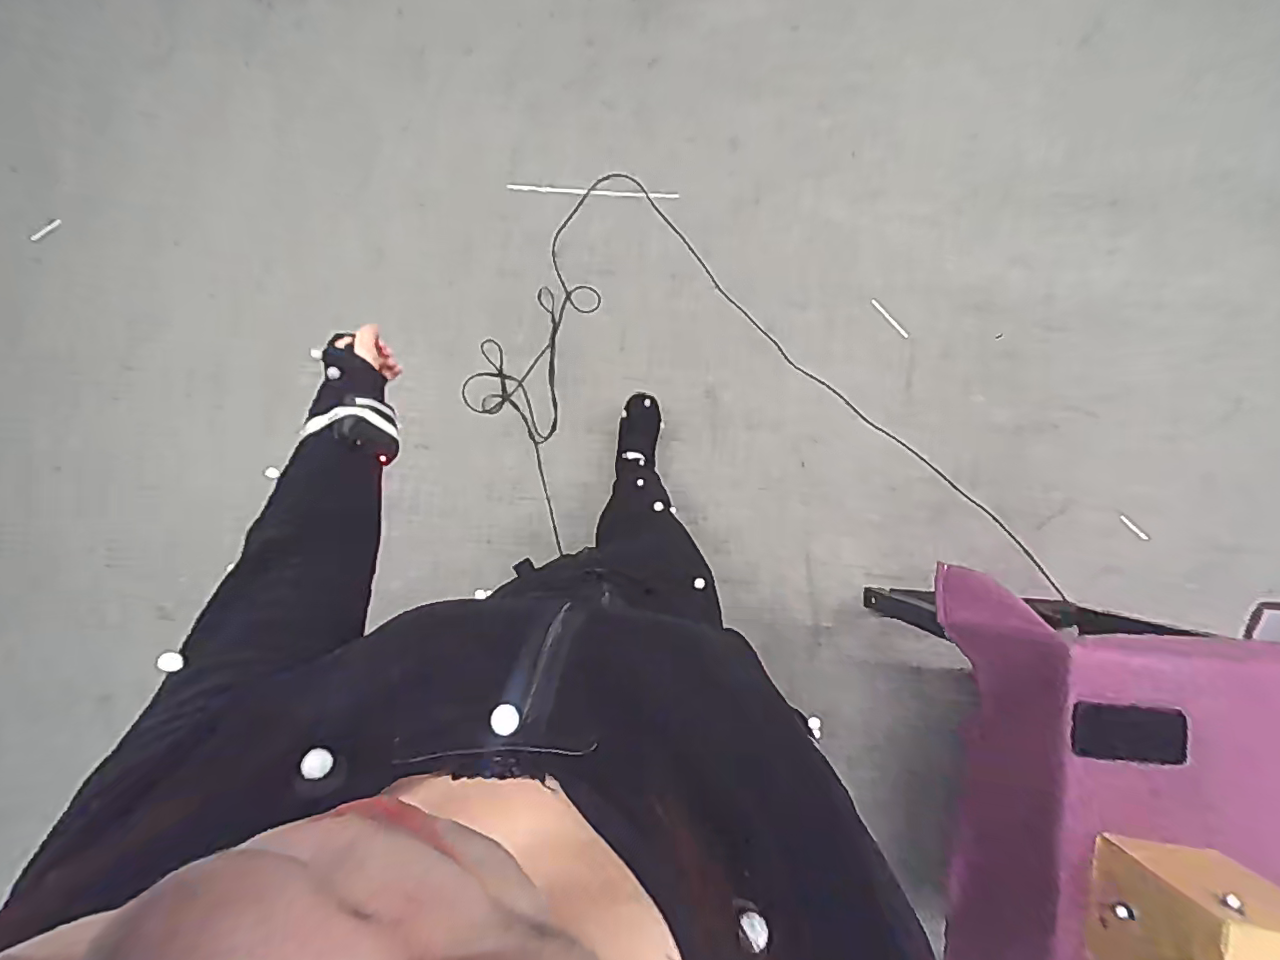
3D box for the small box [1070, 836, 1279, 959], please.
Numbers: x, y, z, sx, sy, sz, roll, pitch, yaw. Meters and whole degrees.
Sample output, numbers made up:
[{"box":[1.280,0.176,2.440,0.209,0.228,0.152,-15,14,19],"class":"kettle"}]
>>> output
[{"box":[0.696,0.582,0.674,0.179,0.176,0.168,9,87,0],"class":"small box"}]
